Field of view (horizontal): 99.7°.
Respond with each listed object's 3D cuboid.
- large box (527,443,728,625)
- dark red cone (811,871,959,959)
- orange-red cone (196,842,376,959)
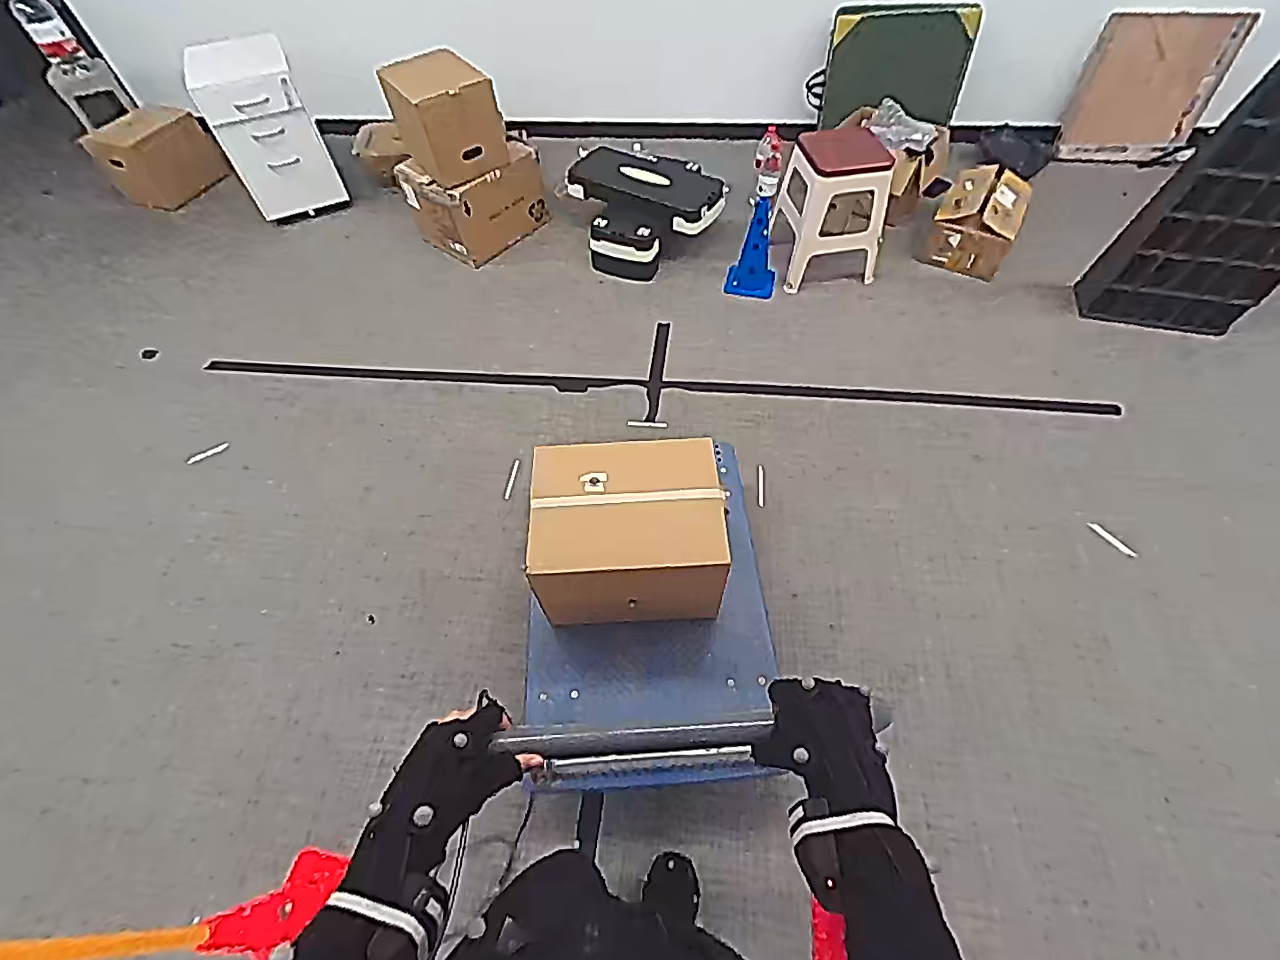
[{"bbox_3d":[-0.025,0.135,1.264,0.408,0.320,0.320,-3,56,0],"label":"large box"},{"bbox_3d":[0.444,0.816,0.936,0.201,0.394,0.202,6,56,4],"label":"dark red cone"},{"bbox_3d":[-0.688,0.806,1.004,0.198,0.360,0.199,12,55,9],"label":"orange-red cone"}]
